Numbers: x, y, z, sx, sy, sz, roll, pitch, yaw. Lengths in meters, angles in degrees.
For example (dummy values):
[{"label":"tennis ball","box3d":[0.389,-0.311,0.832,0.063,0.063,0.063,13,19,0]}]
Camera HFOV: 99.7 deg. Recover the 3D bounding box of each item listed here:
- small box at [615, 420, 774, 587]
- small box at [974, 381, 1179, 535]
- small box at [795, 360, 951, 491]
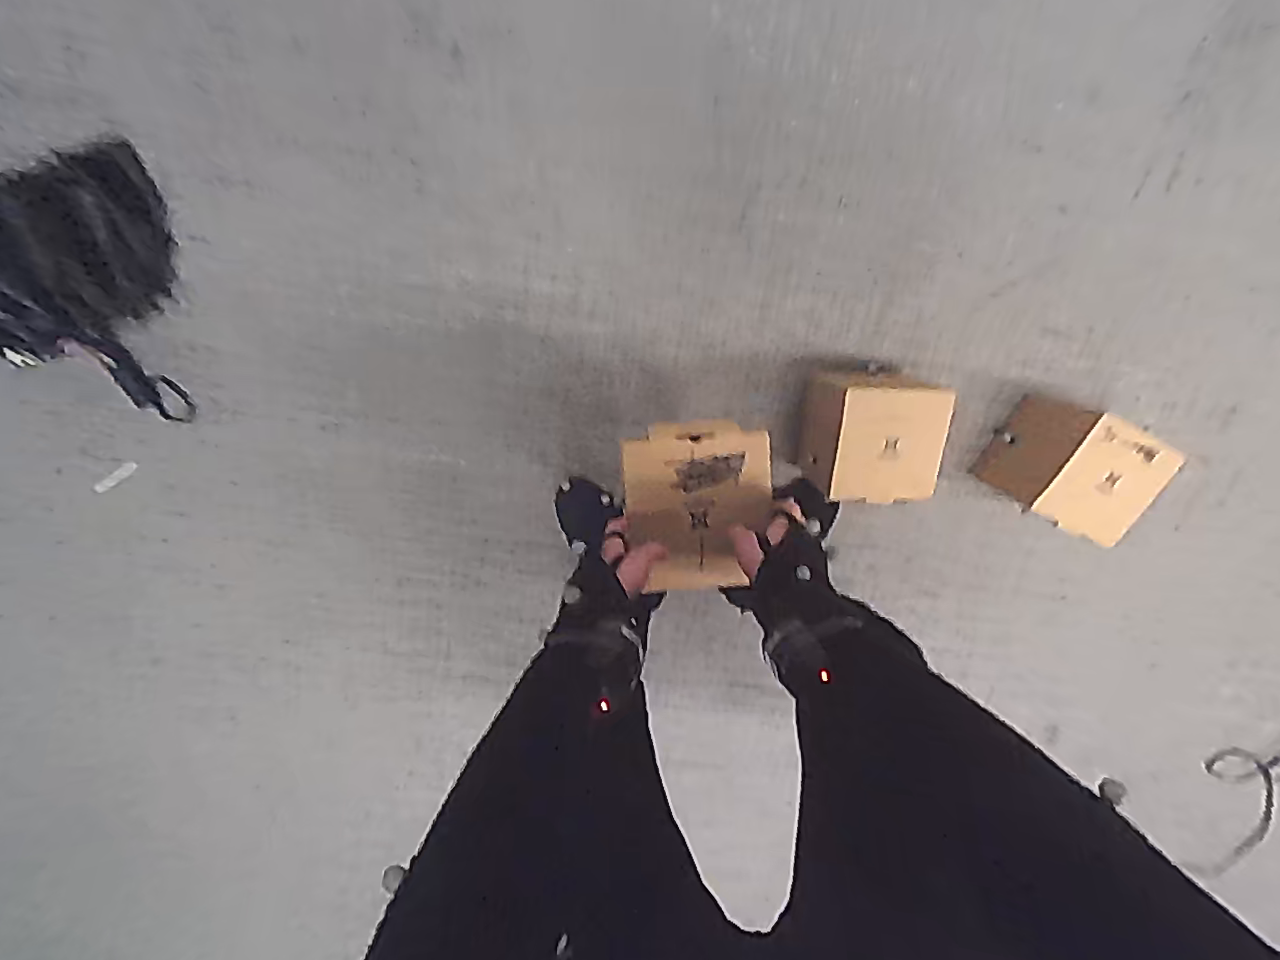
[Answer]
[{"label":"small box","box3d":[0.057,0.019,0.666,0.168,0.176,0.179,-4,97,-3]},{"label":"small box","box3d":[0.707,-0.043,0.906,0.168,0.176,0.179,24,109,-10]},{"label":"small box","box3d":[0.361,-0.093,0.877,0.168,0.176,0.179,-1,110,-3]}]
